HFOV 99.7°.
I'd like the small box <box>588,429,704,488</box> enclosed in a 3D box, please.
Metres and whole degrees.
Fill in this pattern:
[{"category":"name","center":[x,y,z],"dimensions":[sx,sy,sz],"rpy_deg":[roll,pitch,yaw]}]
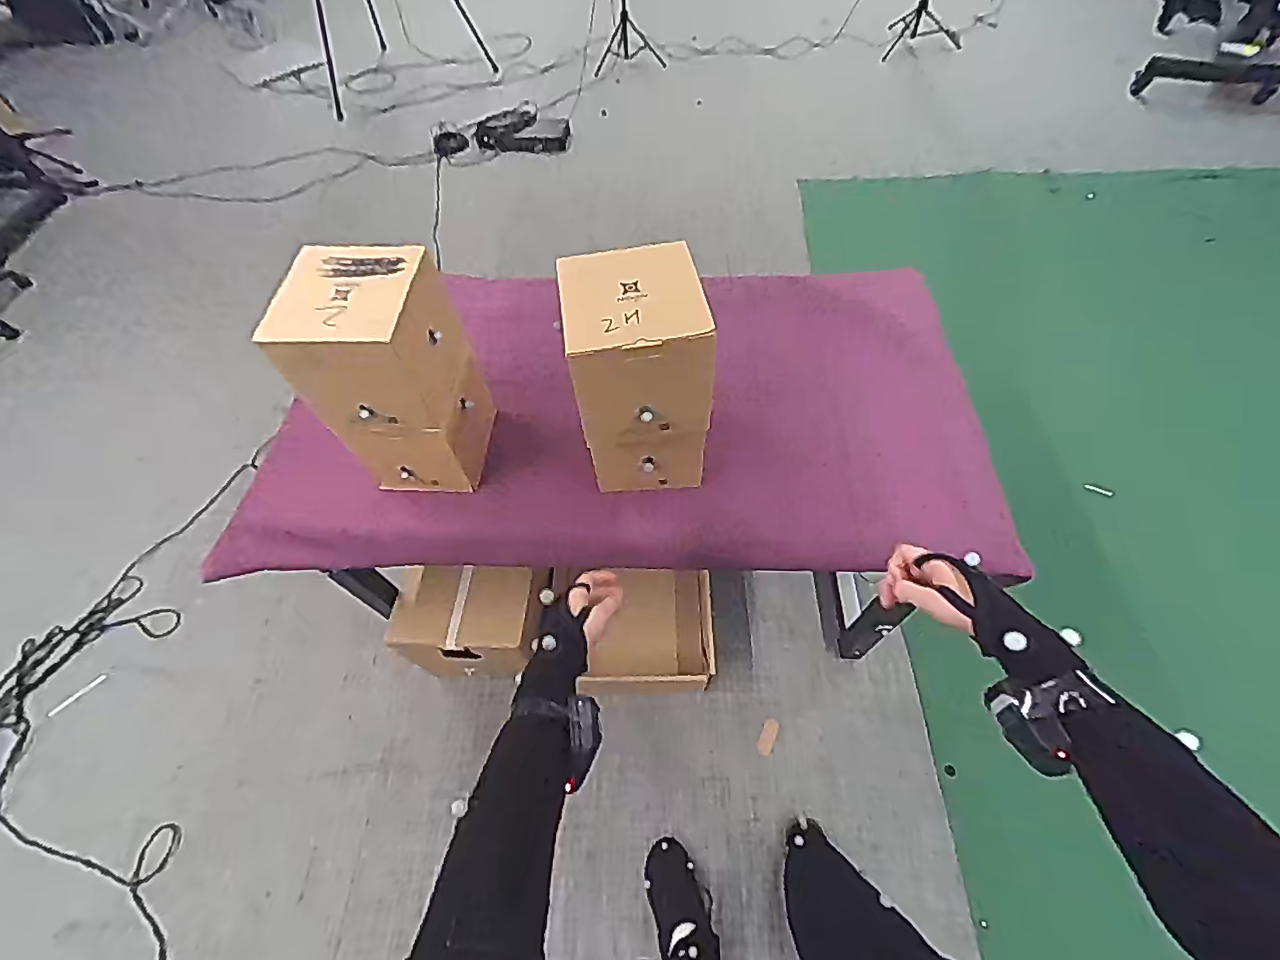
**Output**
[{"category":"small box","center":[0.011,-0.097,0.846],"dimensions":[0.168,0.176,0.179],"rpy_deg":[-3,56,1]}]

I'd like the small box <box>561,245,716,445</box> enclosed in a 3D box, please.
[{"category":"small box","center":[-0.004,-0.169,0.696],"dimensions":[0.168,0.176,0.179],"rpy_deg":[-9,56,-1]}]

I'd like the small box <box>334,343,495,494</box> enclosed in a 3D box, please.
[{"category":"small box","center":[-0.343,-0.097,0.869],"dimensions":[0.168,0.176,0.179],"rpy_deg":[2,58,4]}]
